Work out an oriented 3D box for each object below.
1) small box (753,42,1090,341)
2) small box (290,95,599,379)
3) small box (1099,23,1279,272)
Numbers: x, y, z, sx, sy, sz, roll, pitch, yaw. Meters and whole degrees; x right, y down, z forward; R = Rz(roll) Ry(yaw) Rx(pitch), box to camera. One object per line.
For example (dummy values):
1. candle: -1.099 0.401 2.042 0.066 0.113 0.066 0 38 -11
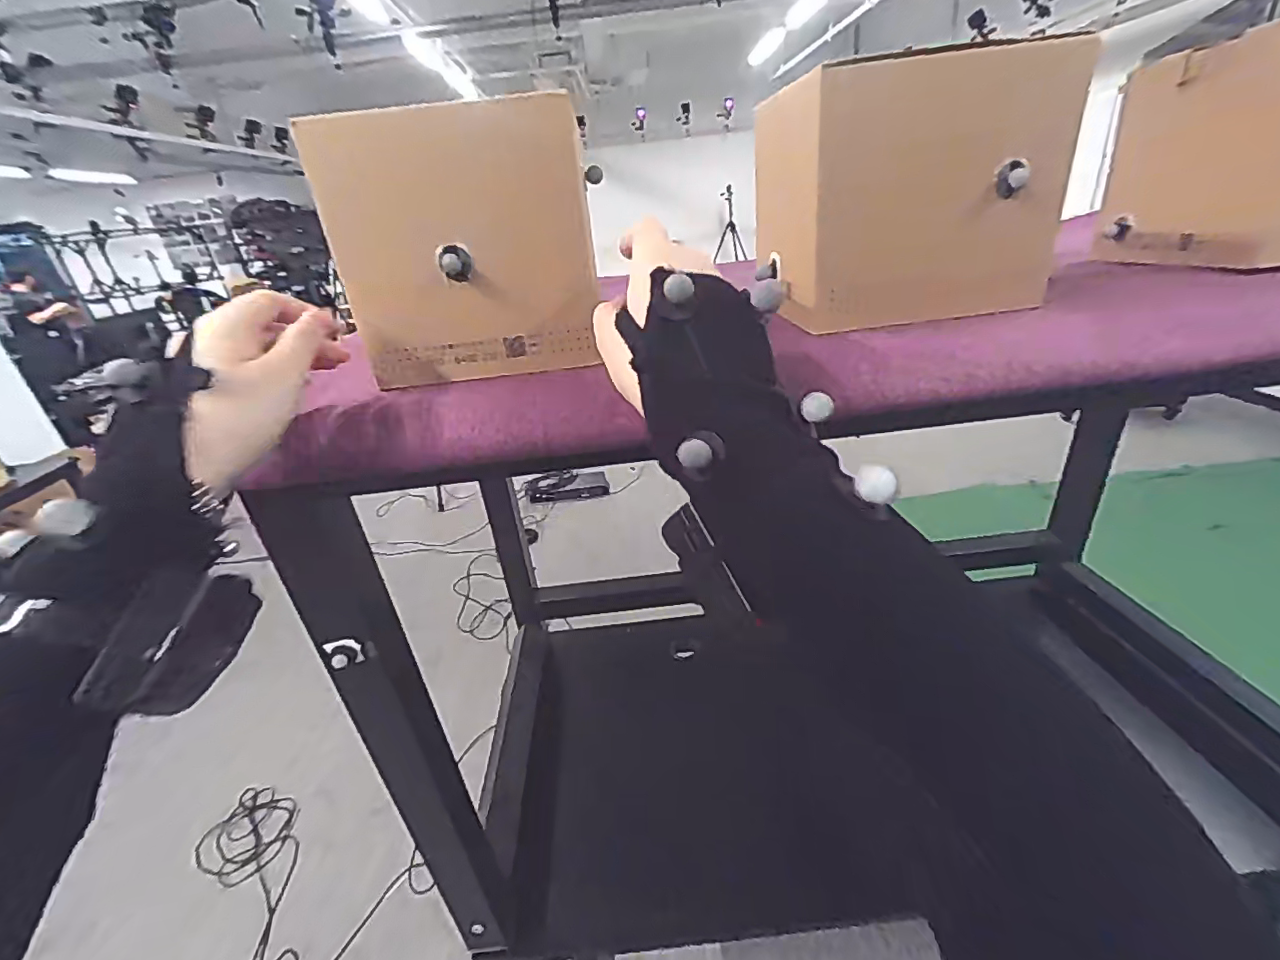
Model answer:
1. small box: 0.196 -0.221 0.438 0.179 0.176 0.168 -8 27 -1
2. small box: -0.123 -0.182 0.428 0.168 0.176 0.179 -6 28 -1
3. small box: 0.540 -0.276 0.458 0.179 0.176 0.168 -6 25 1
